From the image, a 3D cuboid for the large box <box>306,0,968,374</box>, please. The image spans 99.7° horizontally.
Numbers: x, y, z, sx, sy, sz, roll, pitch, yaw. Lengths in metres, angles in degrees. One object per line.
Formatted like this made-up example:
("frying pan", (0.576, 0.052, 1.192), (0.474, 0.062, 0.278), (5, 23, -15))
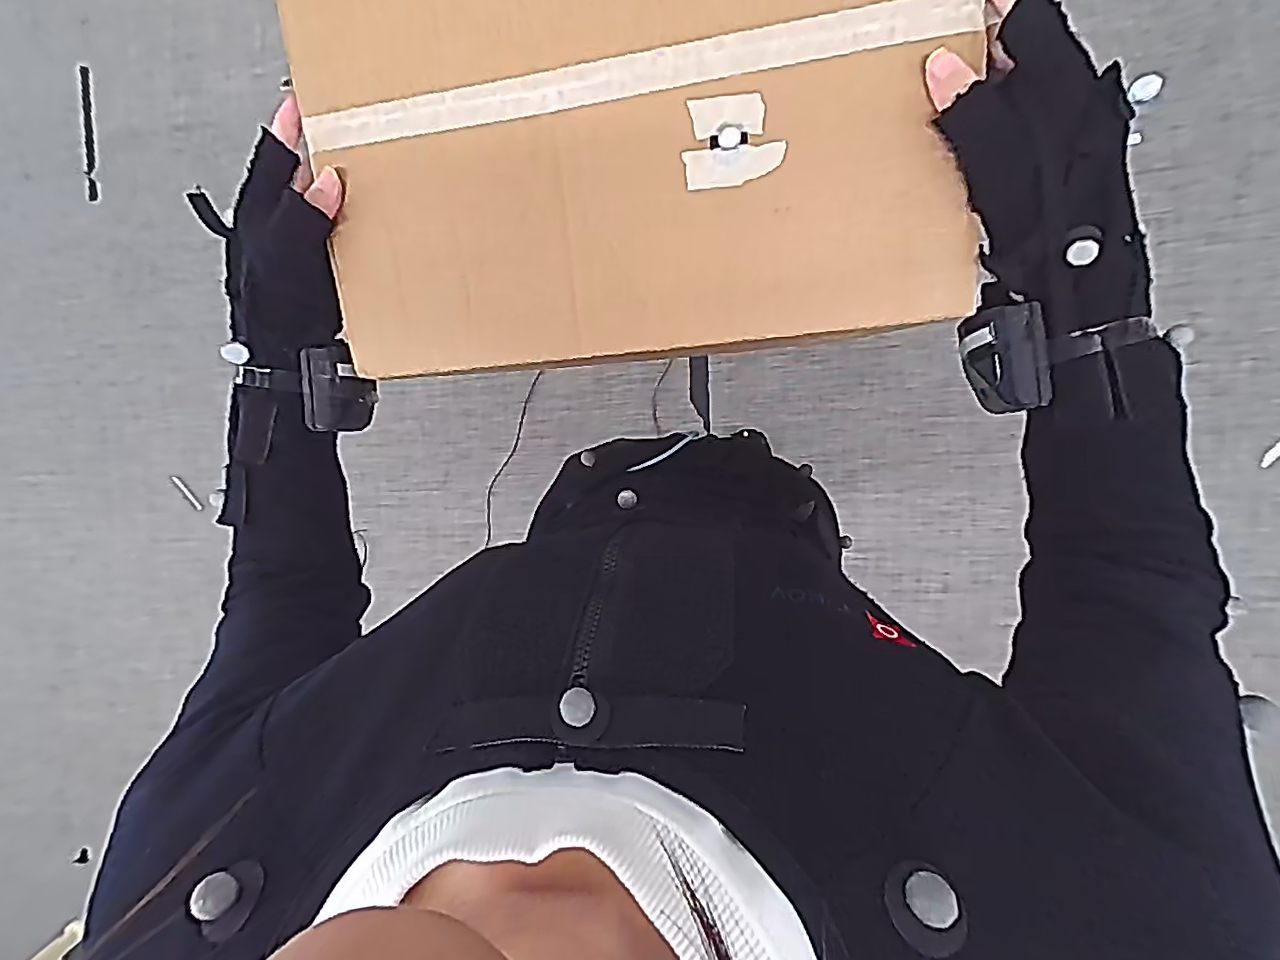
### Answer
("large box", (0.007, -0.274, 0.477), (0.408, 0.320, 0.320), (-4, 102, 8))
